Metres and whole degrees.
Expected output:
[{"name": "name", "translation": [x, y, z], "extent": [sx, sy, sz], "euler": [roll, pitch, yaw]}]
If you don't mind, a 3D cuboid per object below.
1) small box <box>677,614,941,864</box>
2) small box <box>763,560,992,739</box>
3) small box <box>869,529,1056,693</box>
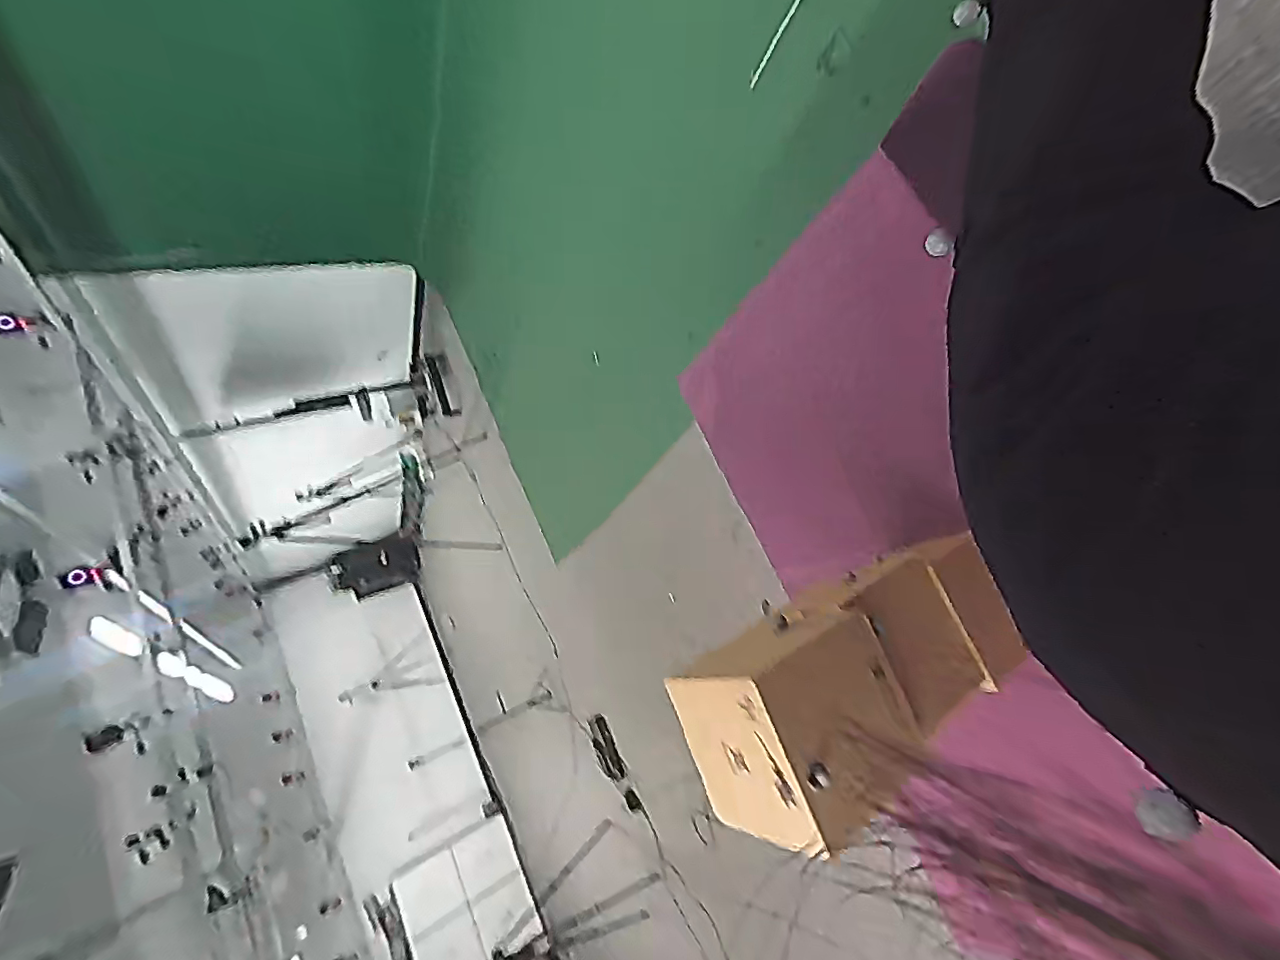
[{"name": "small box", "translation": [0.175, 0.259, 0.584], "extent": [0.179, 0.176, 0.168], "euler": [-38, 74, 58]}, {"name": "small box", "translation": [0.299, 0.225, 0.688], "extent": [0.168, 0.176, 0.179], "euler": [-42, 70, 56]}, {"name": "small box", "translation": [0.434, 0.187, 0.770], "extent": [0.179, 0.176, 0.168], "euler": [-39, 73, 56]}]
